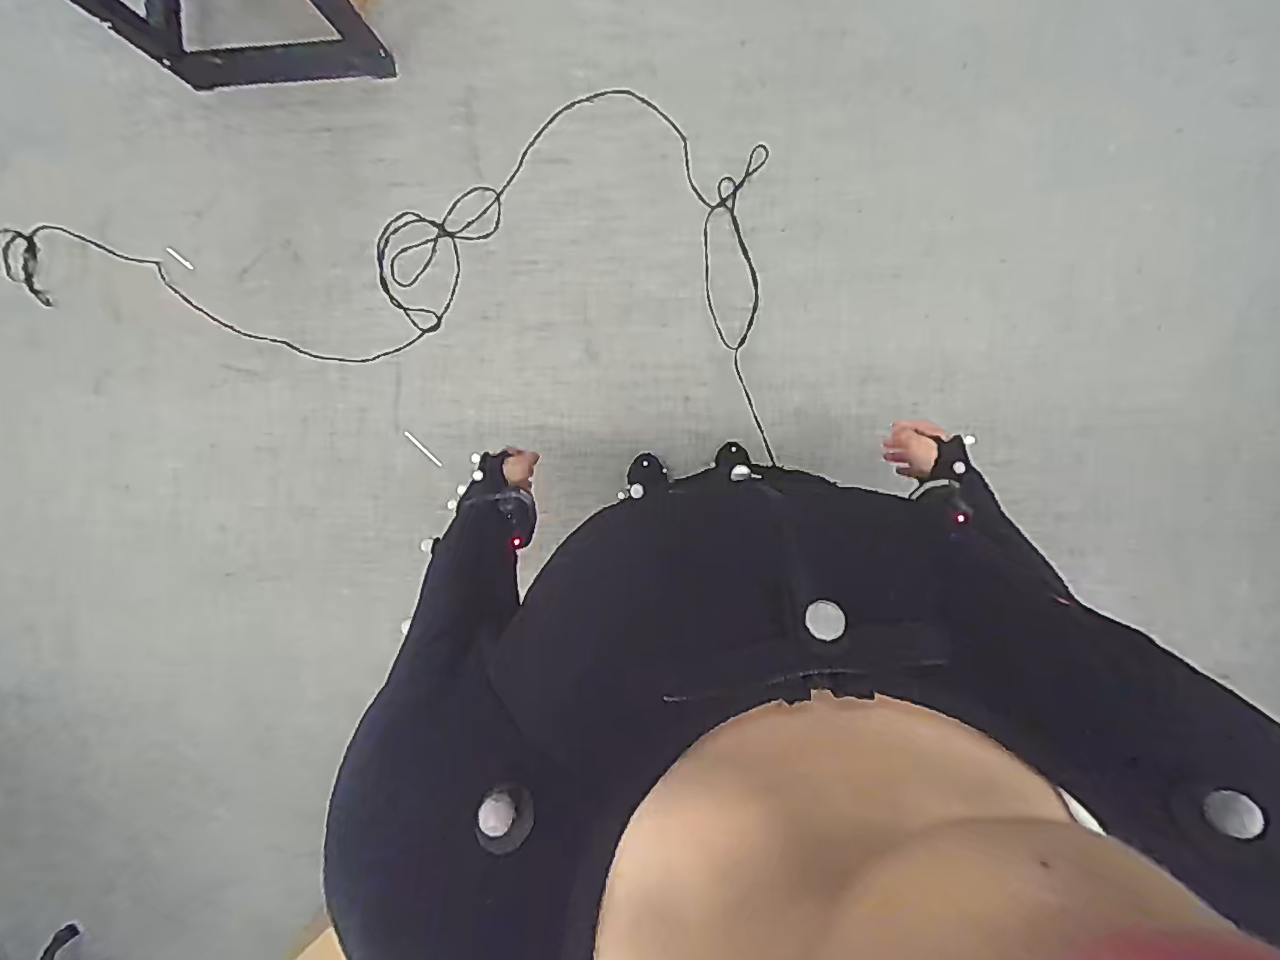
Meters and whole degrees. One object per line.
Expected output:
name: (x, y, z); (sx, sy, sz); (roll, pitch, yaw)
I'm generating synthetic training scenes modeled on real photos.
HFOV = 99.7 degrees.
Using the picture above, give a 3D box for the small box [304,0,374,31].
small box: (-0.793, -1.296, 1.364); (0.179, 0.176, 0.168); (33, 97, 1)
